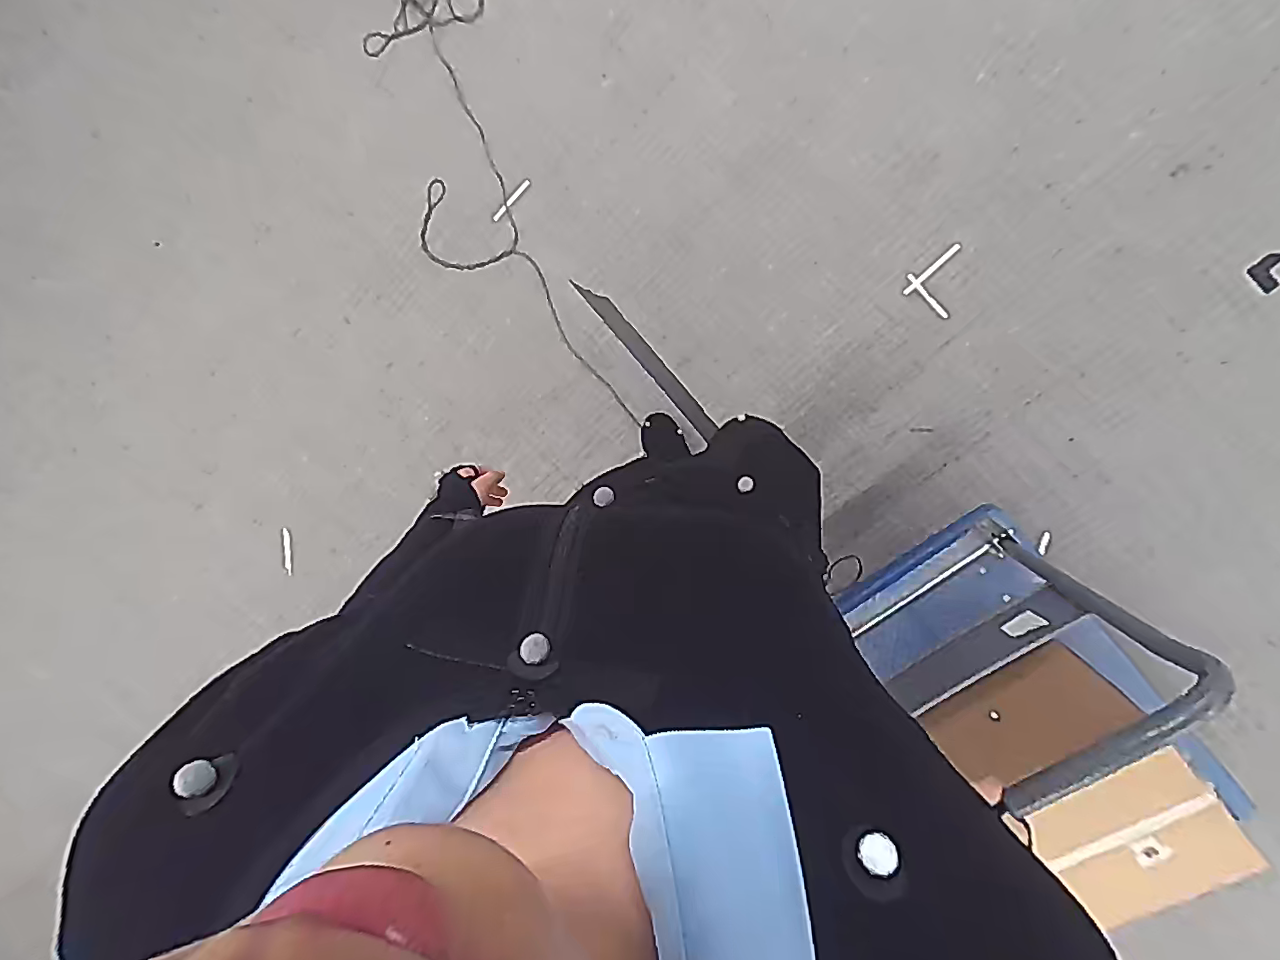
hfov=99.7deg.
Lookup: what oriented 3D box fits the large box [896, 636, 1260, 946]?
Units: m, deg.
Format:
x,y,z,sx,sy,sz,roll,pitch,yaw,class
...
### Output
x,y,z,sx,sy,sz,roll,pitch,yaw,class
0.813,0.594,1.085,0.408,0.320,0.320,-39,90,14,large box
